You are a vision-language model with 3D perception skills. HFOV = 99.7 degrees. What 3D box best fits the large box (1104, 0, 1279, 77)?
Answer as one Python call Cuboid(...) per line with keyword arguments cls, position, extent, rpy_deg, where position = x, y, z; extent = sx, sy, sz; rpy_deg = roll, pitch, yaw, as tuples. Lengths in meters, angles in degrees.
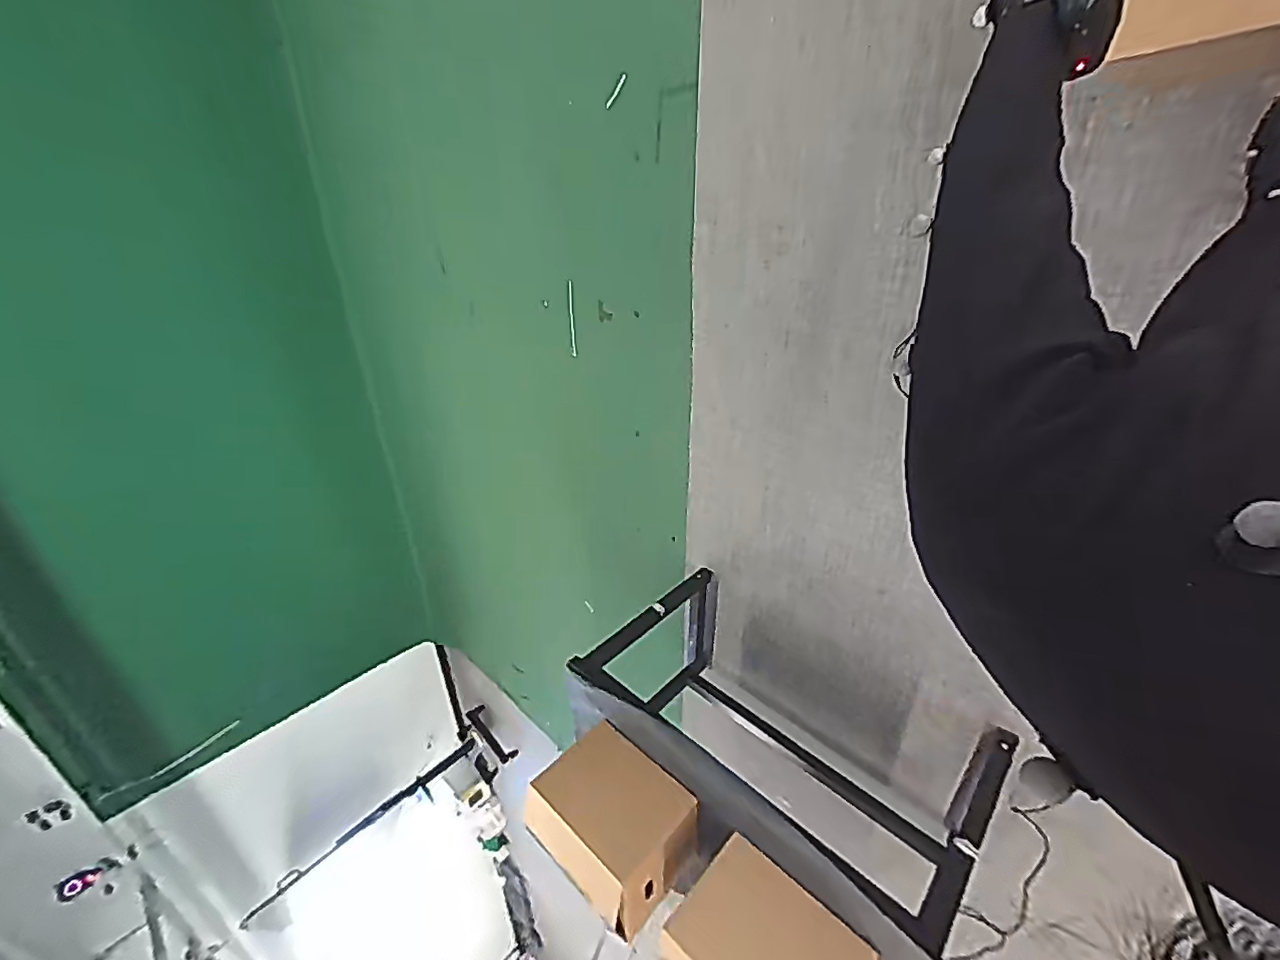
Cuboid(cls="large box", position=(0.637, -0.539, 0.382), extent=(0.408, 0.320, 0.320), rpy_deg=(17, 124, 41))
